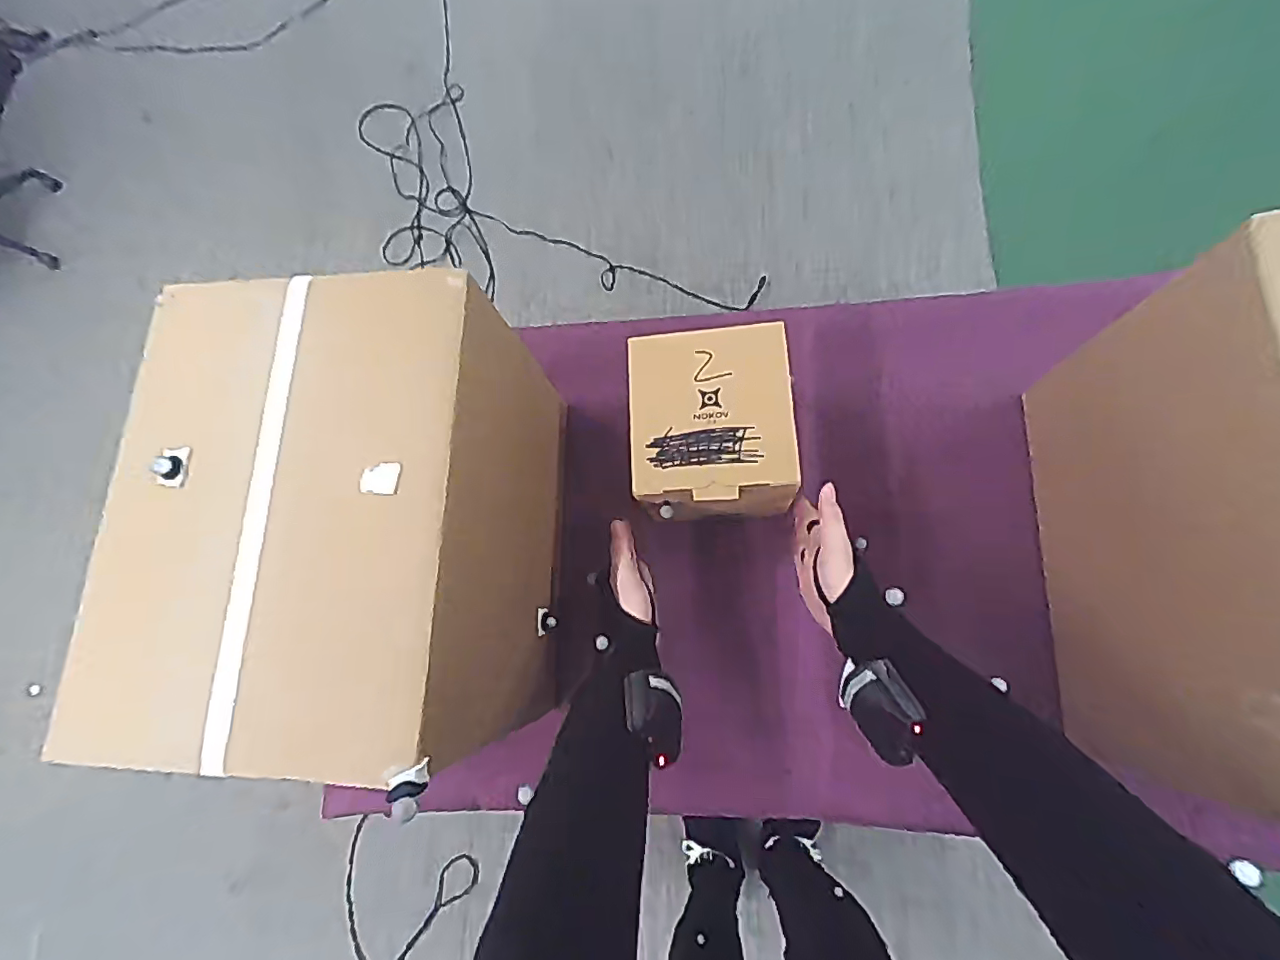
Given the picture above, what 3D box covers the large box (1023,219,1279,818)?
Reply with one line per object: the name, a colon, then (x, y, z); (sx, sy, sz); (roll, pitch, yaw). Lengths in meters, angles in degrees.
large box: (0.584, 0.046, 0.446); (0.320, 0.320, 0.408); (0, 77, 10)
